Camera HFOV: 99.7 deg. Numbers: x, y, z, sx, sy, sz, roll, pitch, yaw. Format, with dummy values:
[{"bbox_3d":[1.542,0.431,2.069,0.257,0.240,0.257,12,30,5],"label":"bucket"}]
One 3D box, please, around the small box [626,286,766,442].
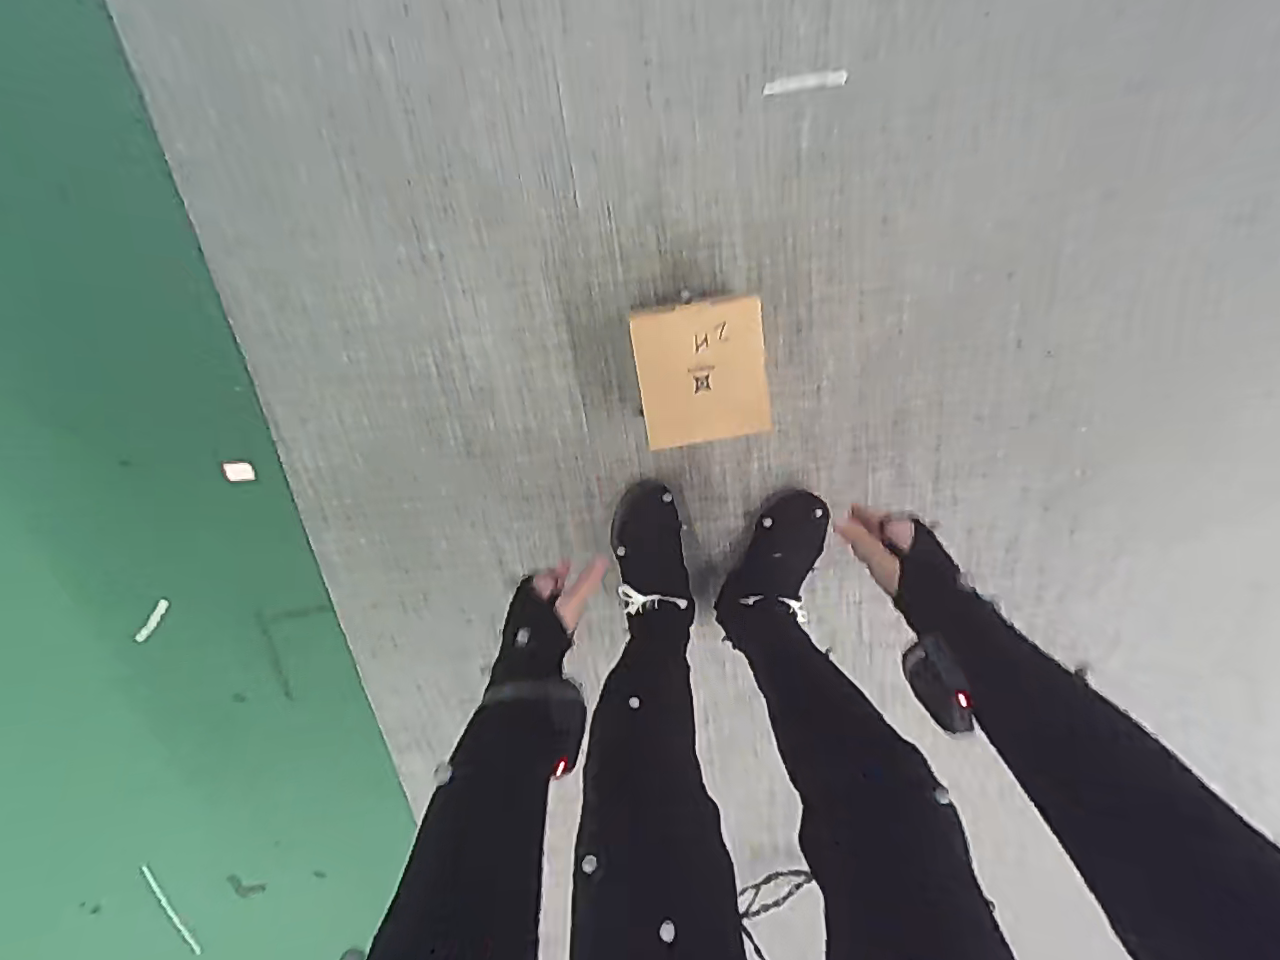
[{"bbox_3d":[0.075,-0.167,0.752,0.168,0.176,0.179,-7,110,2],"label":"small box"}]
